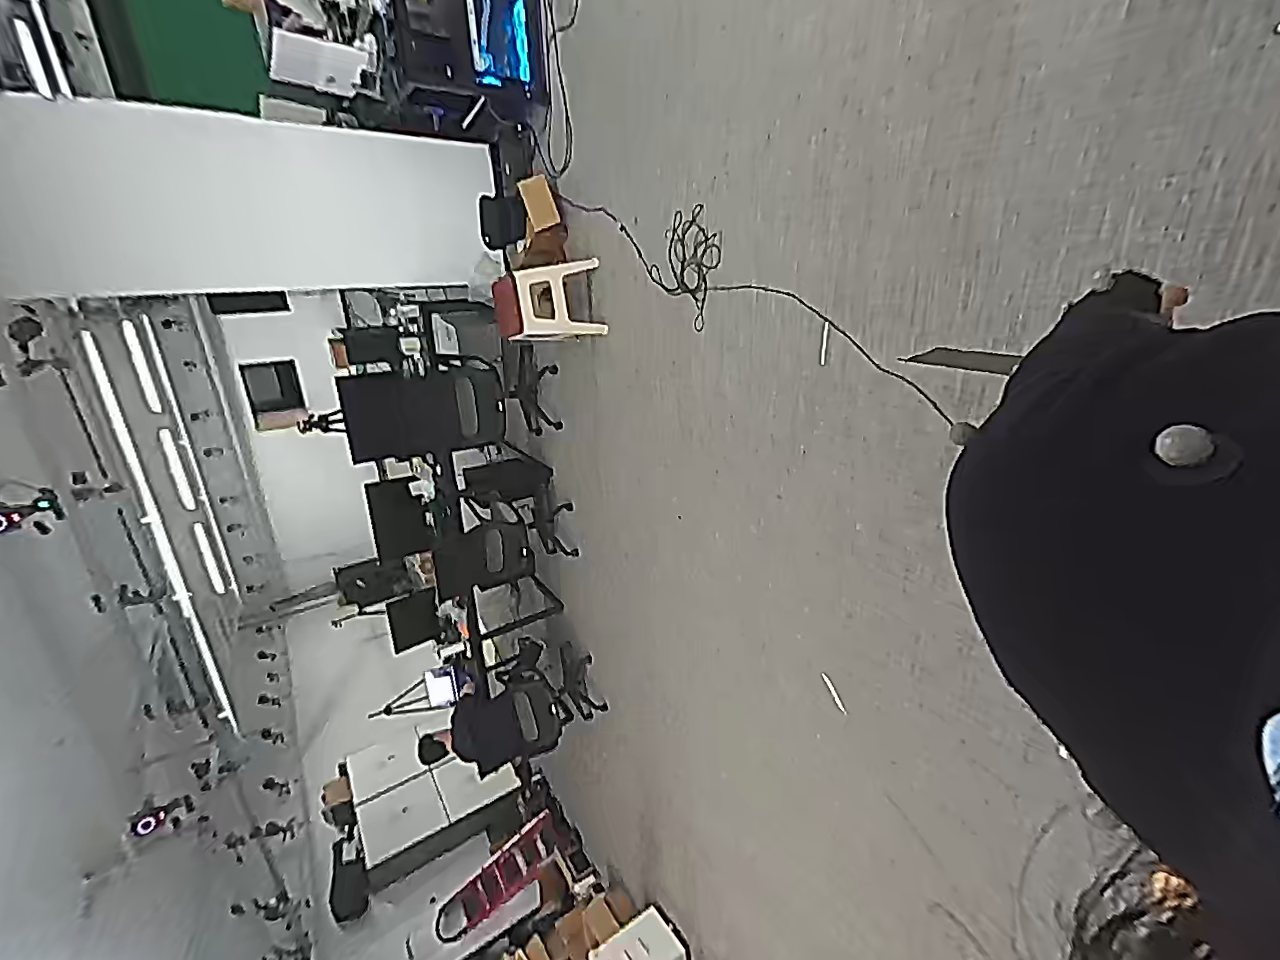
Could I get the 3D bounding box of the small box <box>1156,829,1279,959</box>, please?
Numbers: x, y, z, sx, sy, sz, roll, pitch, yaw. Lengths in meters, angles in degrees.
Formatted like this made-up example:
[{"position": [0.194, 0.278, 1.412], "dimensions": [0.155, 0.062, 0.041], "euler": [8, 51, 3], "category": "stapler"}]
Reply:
[{"position": [1.260, 0.918, 1.172], "dimensions": [0.168, 0.176, 0.179], "euler": [9, 111, 56], "category": "small box"}]
